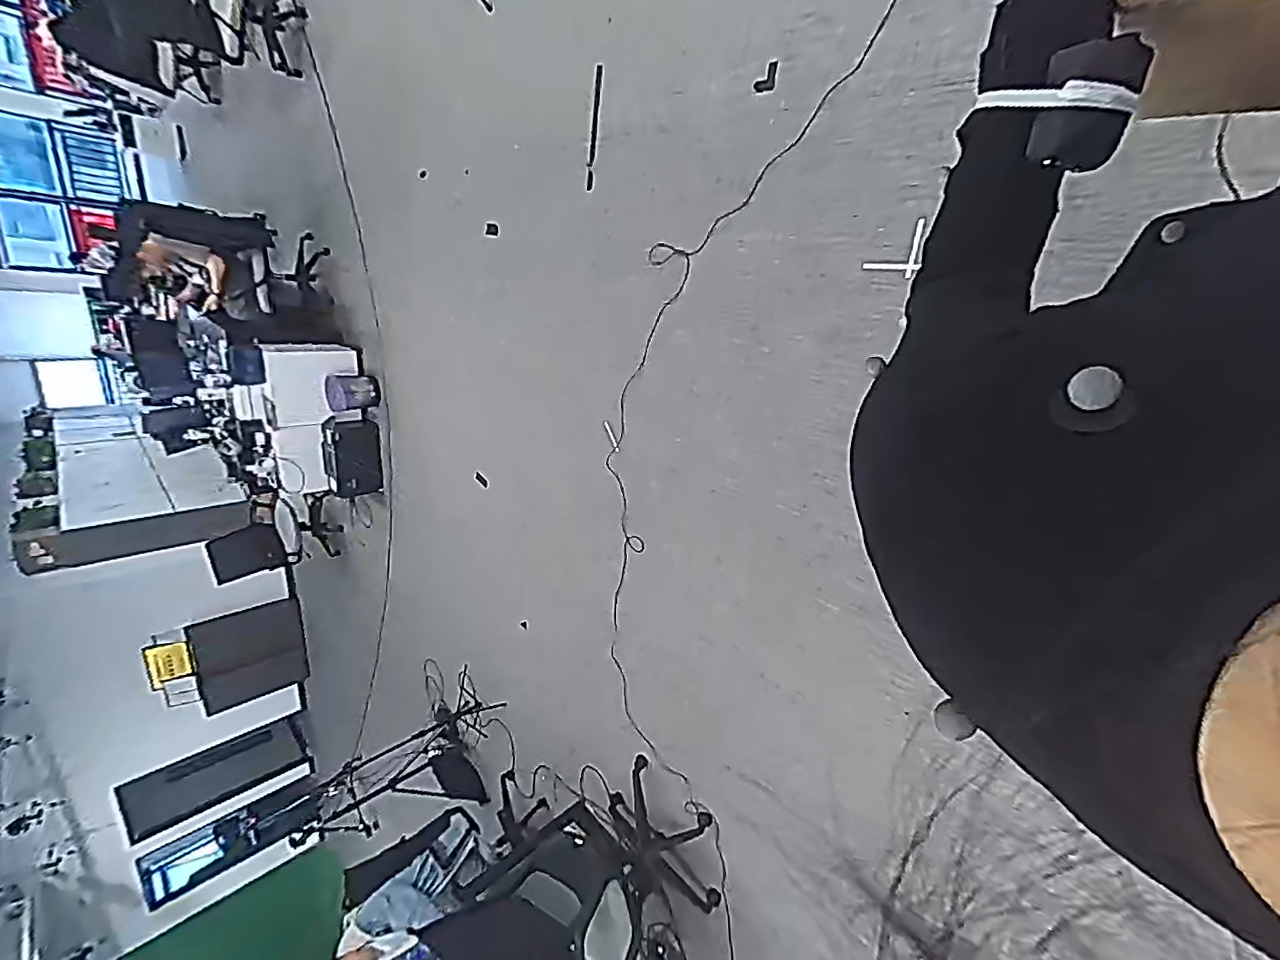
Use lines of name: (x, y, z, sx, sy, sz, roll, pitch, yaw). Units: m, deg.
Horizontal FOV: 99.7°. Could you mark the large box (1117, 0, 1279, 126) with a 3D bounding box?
large box: (0.535, -0.396, 0.254, 0.408, 0.320, 0.320, 23, 119, 37)
